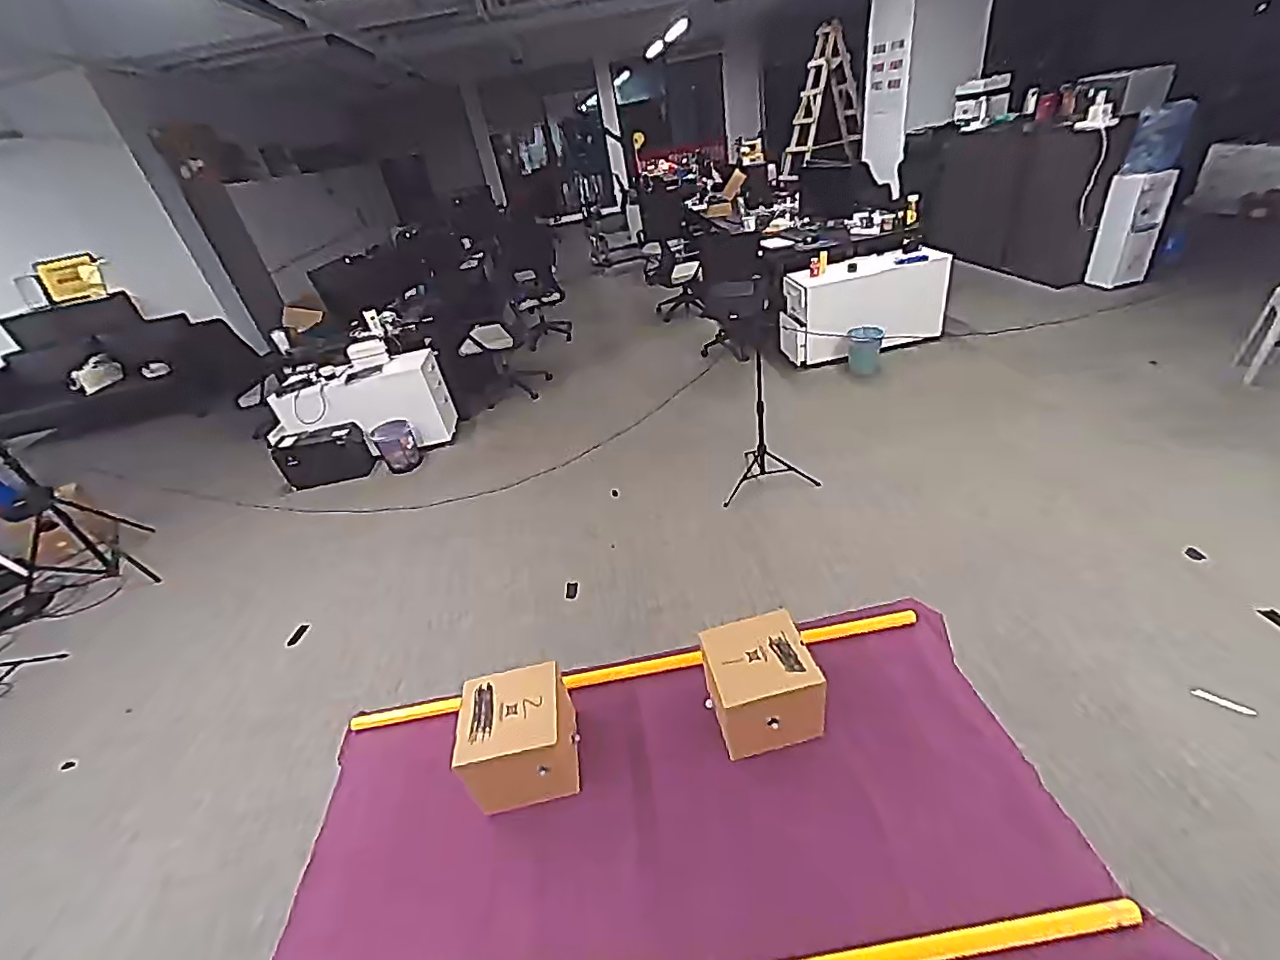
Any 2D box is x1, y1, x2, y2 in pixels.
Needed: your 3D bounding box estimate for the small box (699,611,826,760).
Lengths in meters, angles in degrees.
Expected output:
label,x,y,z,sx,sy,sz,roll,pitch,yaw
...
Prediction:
label,x,y,z,sx,sy,sz,roll,pitch,yaw
small box,0.217,0.372,0.978,0.179,0.176,0.168,-14,34,-2
